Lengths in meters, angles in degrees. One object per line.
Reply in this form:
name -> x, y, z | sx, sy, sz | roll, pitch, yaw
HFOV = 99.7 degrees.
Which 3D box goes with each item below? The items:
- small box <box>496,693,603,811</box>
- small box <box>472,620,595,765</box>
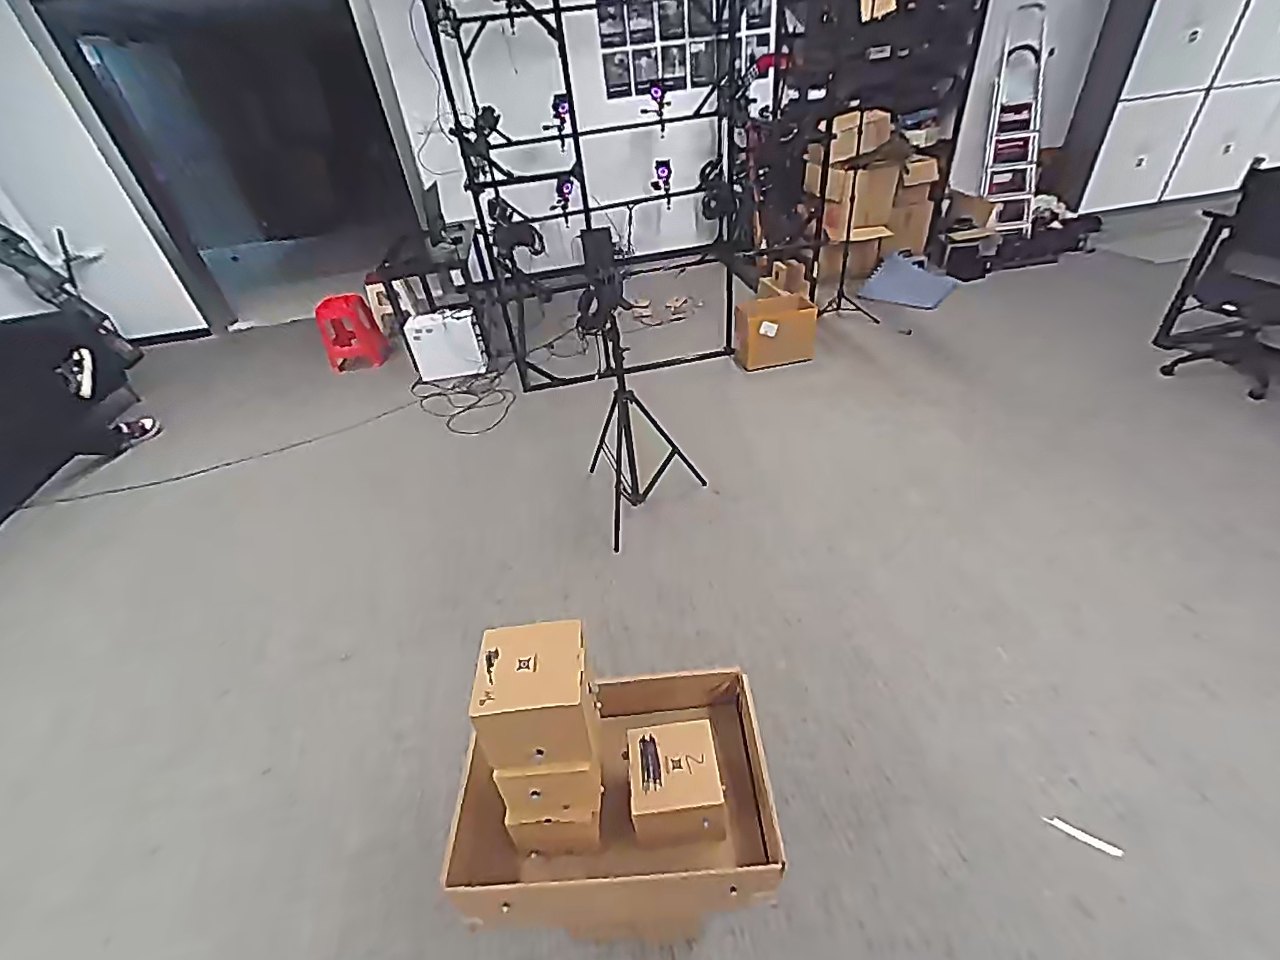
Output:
small box -> -0.159, 0.504, 1.023 | 0.168, 0.176, 0.179 | -4, 36, 0
small box -> -0.171, 0.366, 0.933 | 0.179, 0.176, 0.168 | -5, 36, -1
